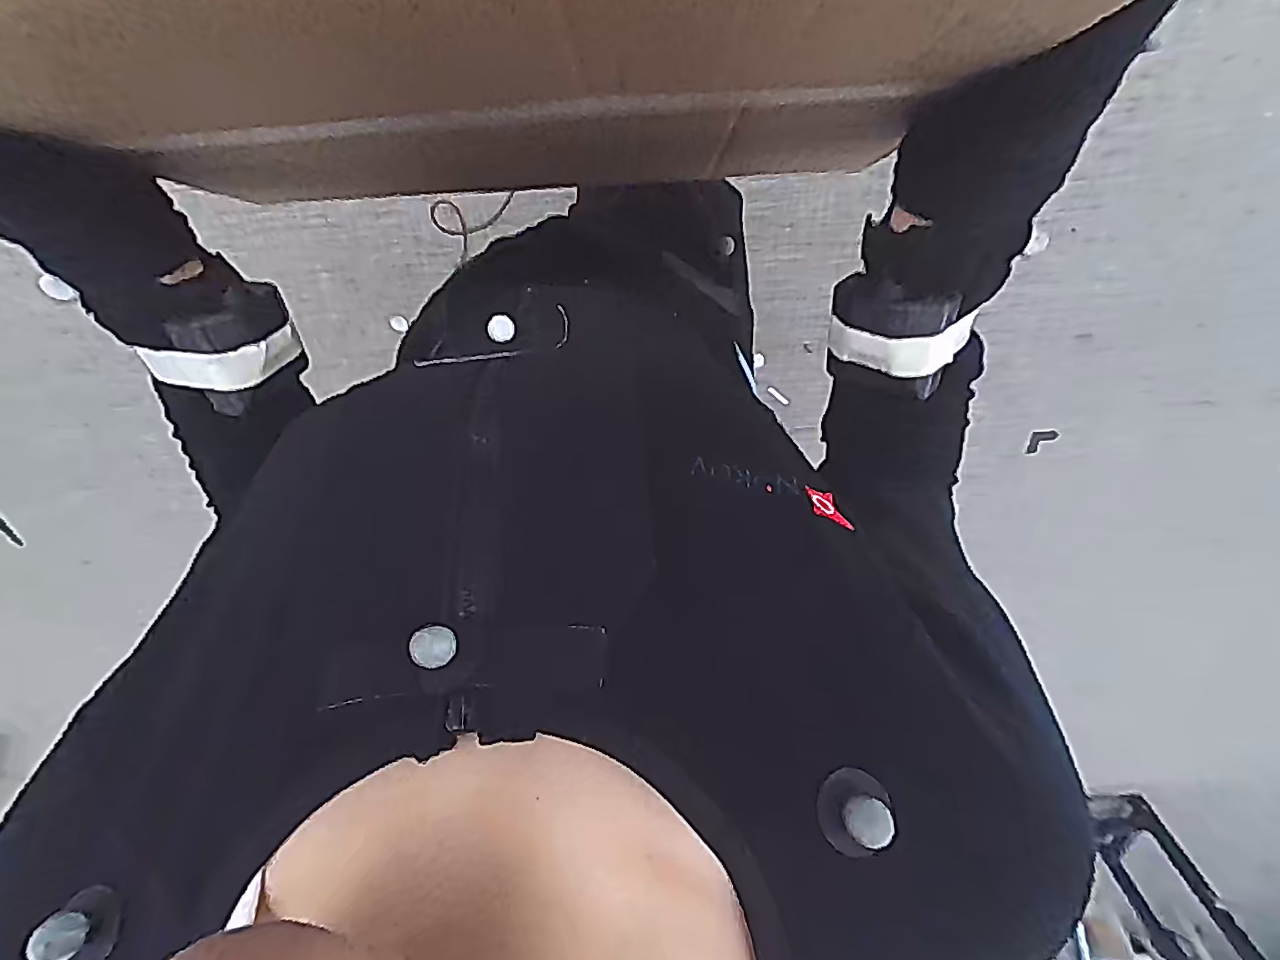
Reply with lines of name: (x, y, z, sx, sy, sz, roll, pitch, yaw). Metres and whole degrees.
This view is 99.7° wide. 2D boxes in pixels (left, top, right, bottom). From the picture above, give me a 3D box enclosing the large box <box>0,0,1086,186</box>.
large box: (-0.061, -0.308, 0.173, 0.408, 0.320, 0.320, -3, 108, 1)
